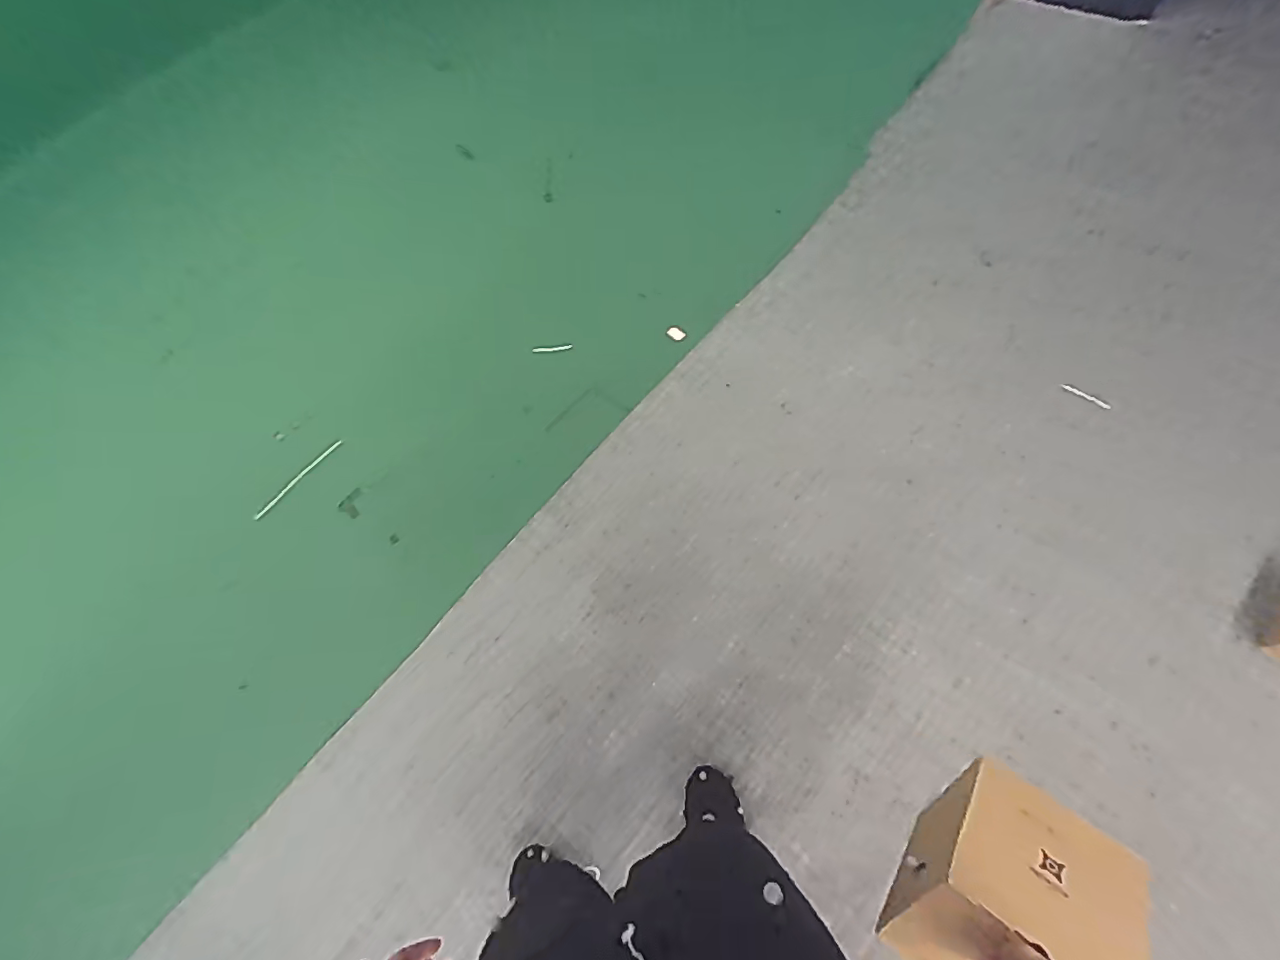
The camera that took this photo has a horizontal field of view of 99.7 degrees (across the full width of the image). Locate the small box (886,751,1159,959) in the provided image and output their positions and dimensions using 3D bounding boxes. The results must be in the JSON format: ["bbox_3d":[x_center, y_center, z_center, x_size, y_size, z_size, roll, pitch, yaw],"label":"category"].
[{"bbox_3d":[0.386,0.439,0.564,0.168,0.176,0.179,34,40,26],"label":"small box"}]

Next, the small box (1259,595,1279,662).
[{"bbox_3d":[1.305,0.276,0.976,0.168,0.176,0.179,36,77,21],"label":"small box"}]
